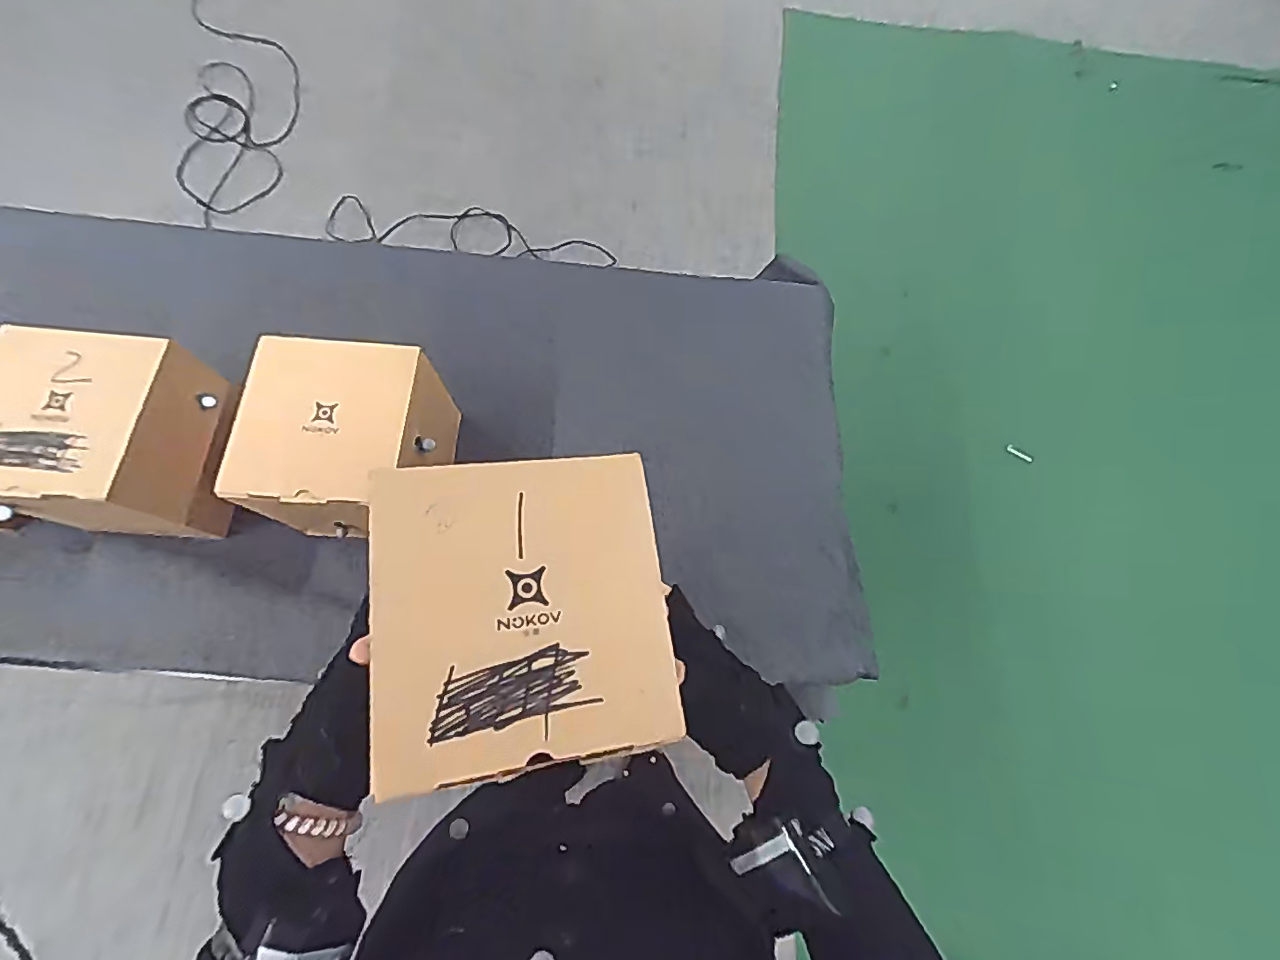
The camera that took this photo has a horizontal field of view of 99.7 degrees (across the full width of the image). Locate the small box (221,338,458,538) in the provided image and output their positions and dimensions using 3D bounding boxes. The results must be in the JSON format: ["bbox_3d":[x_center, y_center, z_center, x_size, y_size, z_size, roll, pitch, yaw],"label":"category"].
[{"bbox_3d":[-0.316,-0.036,0.614,0.168,0.176,0.179,4,73,-3],"label":"small box"}]

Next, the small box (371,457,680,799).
[{"bbox_3d":[-0.083,0.096,0.384,0.168,0.176,0.179,-4,73,-15],"label":"small box"}]

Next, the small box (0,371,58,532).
[{"bbox_3d":[-0.802,-0.050,0.577,0.168,0.176,0.179,3,71,-4],"label":"small box"}]
